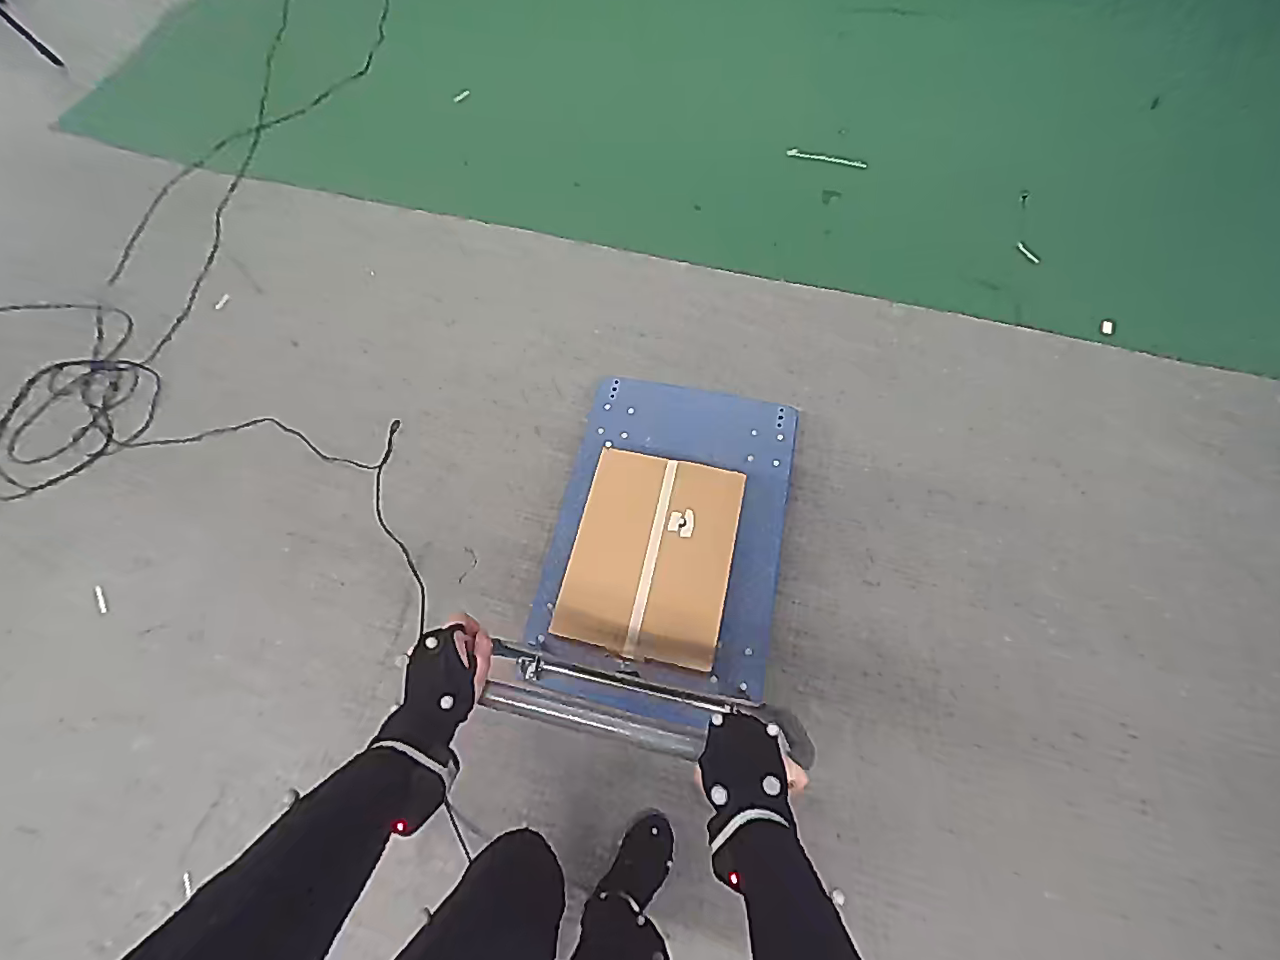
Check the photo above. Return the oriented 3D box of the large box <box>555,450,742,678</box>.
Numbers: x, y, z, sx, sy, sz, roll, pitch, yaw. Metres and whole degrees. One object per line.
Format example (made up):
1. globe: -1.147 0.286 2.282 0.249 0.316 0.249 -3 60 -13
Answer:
1. large box: 0.034 0.198 1.210 0.320 0.320 0.408 11 67 7
